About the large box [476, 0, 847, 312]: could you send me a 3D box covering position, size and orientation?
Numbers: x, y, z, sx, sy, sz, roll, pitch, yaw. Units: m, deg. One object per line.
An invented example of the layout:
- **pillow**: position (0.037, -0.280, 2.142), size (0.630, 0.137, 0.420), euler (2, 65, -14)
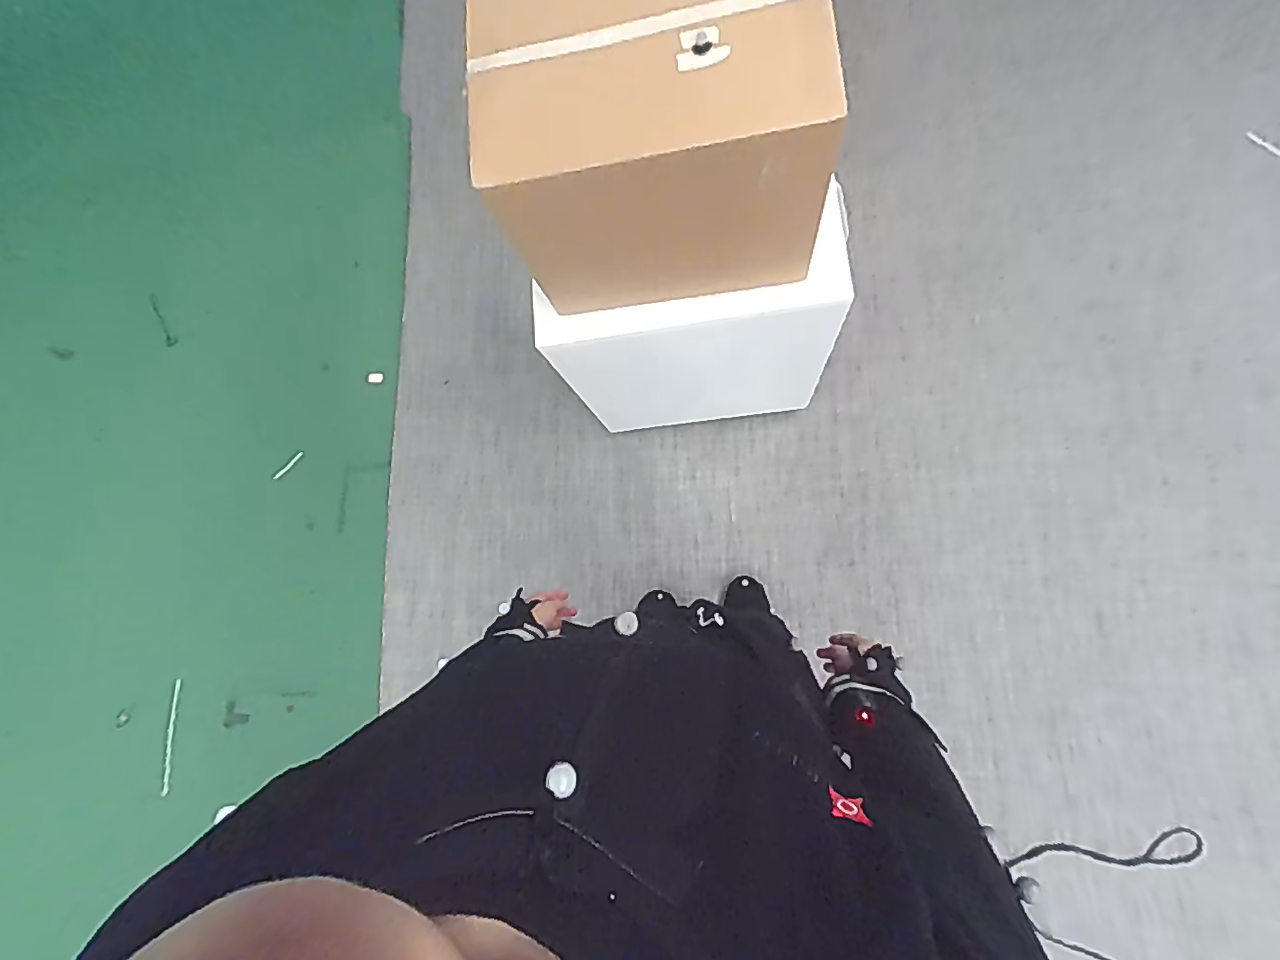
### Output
- **large box**: position (0.026, -0.470, 0.750), size (0.408, 0.320, 0.320), euler (-6, 80, 7)
